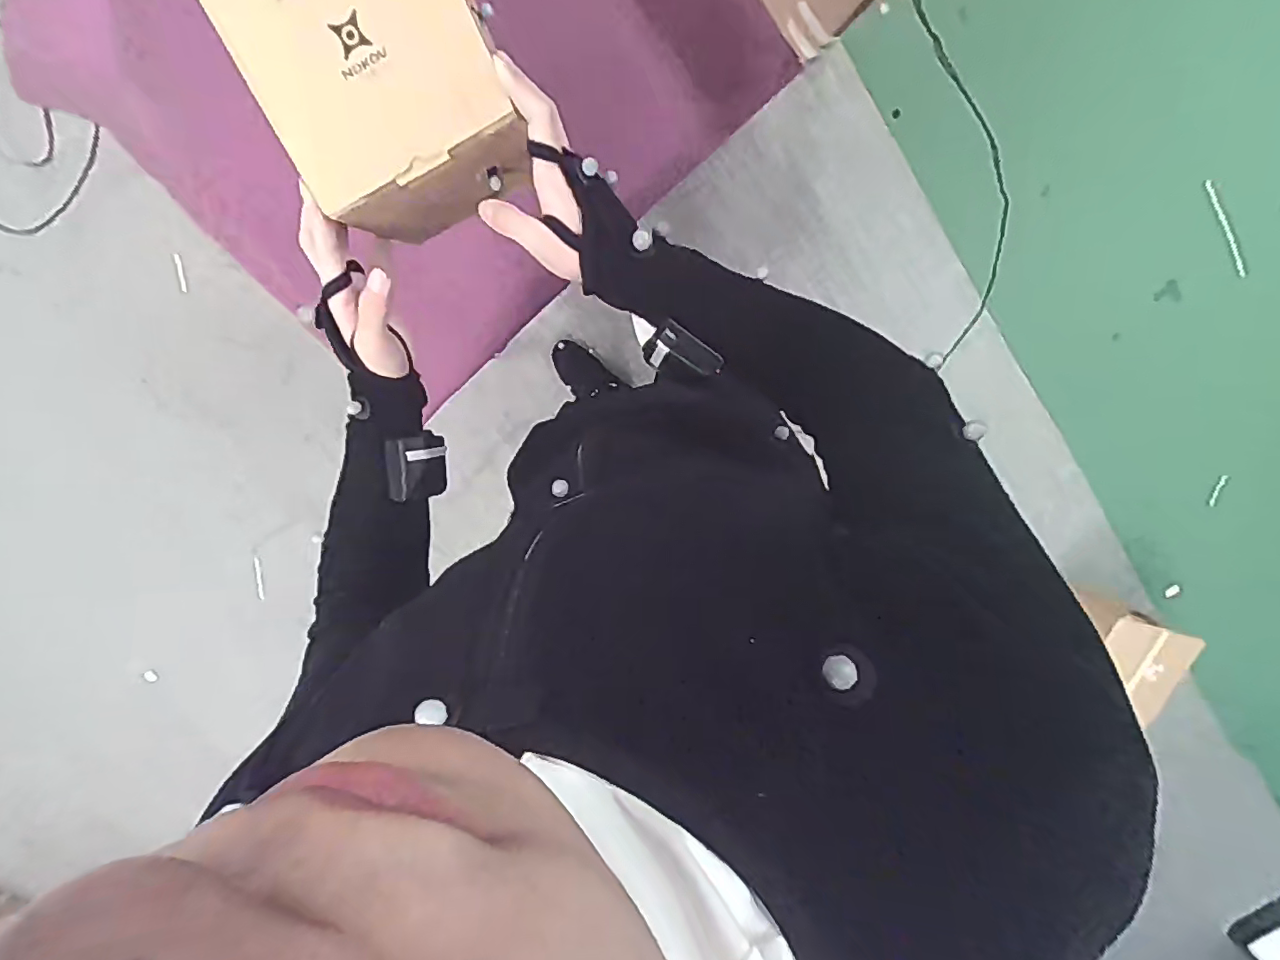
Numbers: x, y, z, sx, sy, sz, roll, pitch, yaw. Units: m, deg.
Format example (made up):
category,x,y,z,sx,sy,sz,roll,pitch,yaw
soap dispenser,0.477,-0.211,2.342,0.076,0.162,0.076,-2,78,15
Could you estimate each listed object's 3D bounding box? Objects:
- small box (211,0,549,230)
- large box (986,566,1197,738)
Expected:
category,x,y,z,sx,sy,sz,roll,pitch,yaw
small box,-0.192,-0.329,0.452,0.168,0.176,0.179,-24,106,7
large box,1.442,0.552,1.771,0.320,0.320,0.408,15,105,-9
